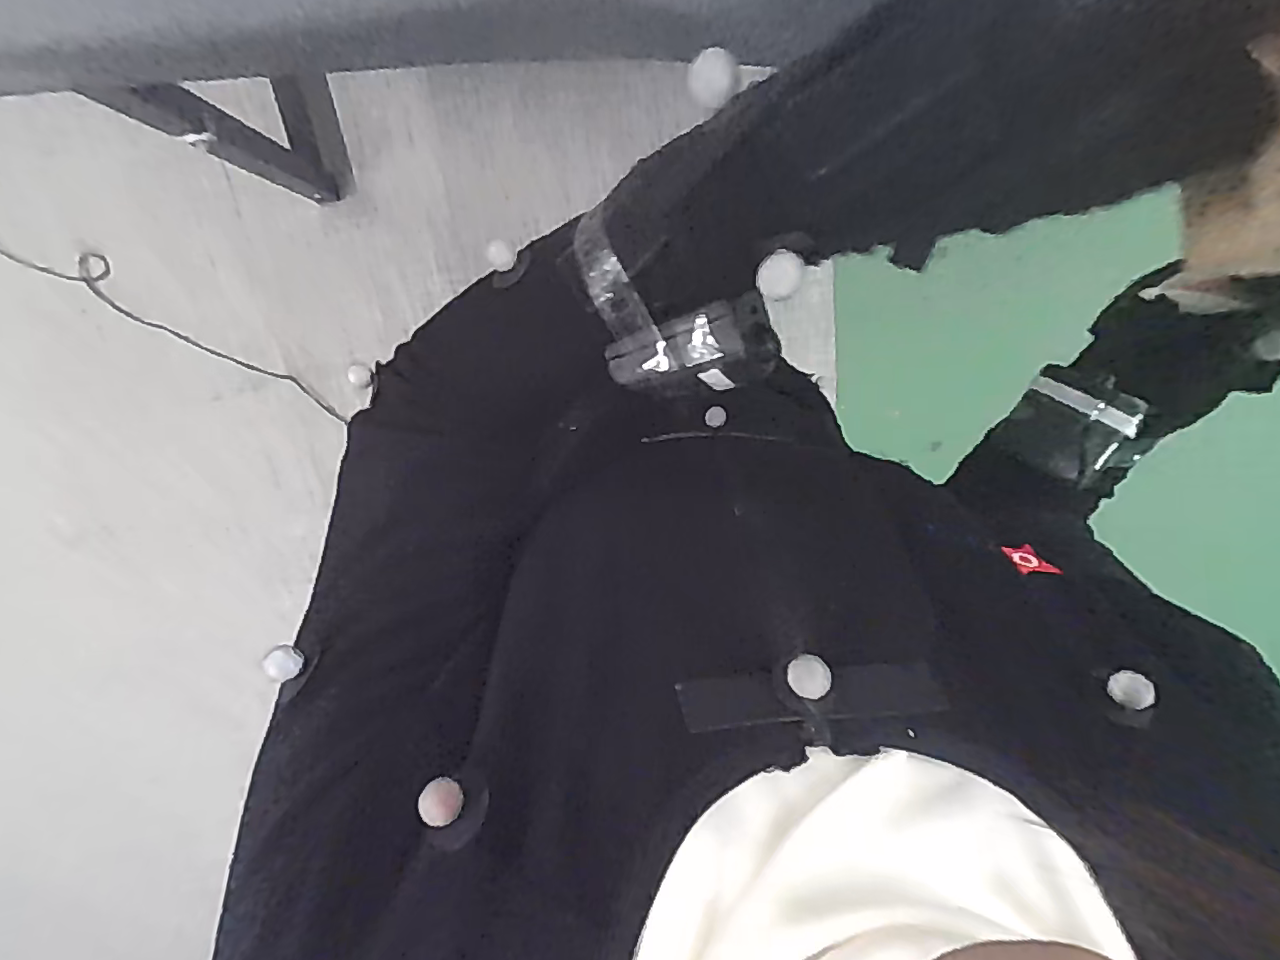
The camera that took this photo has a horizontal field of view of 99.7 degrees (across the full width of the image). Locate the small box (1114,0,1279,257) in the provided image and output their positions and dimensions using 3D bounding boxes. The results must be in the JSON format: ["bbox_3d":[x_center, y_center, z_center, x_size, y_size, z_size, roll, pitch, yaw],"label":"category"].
[{"bbox_3d":[0.250,-0.165,0.129,0.168,0.176,0.179,-11,95,-25],"label":"small box"}]
